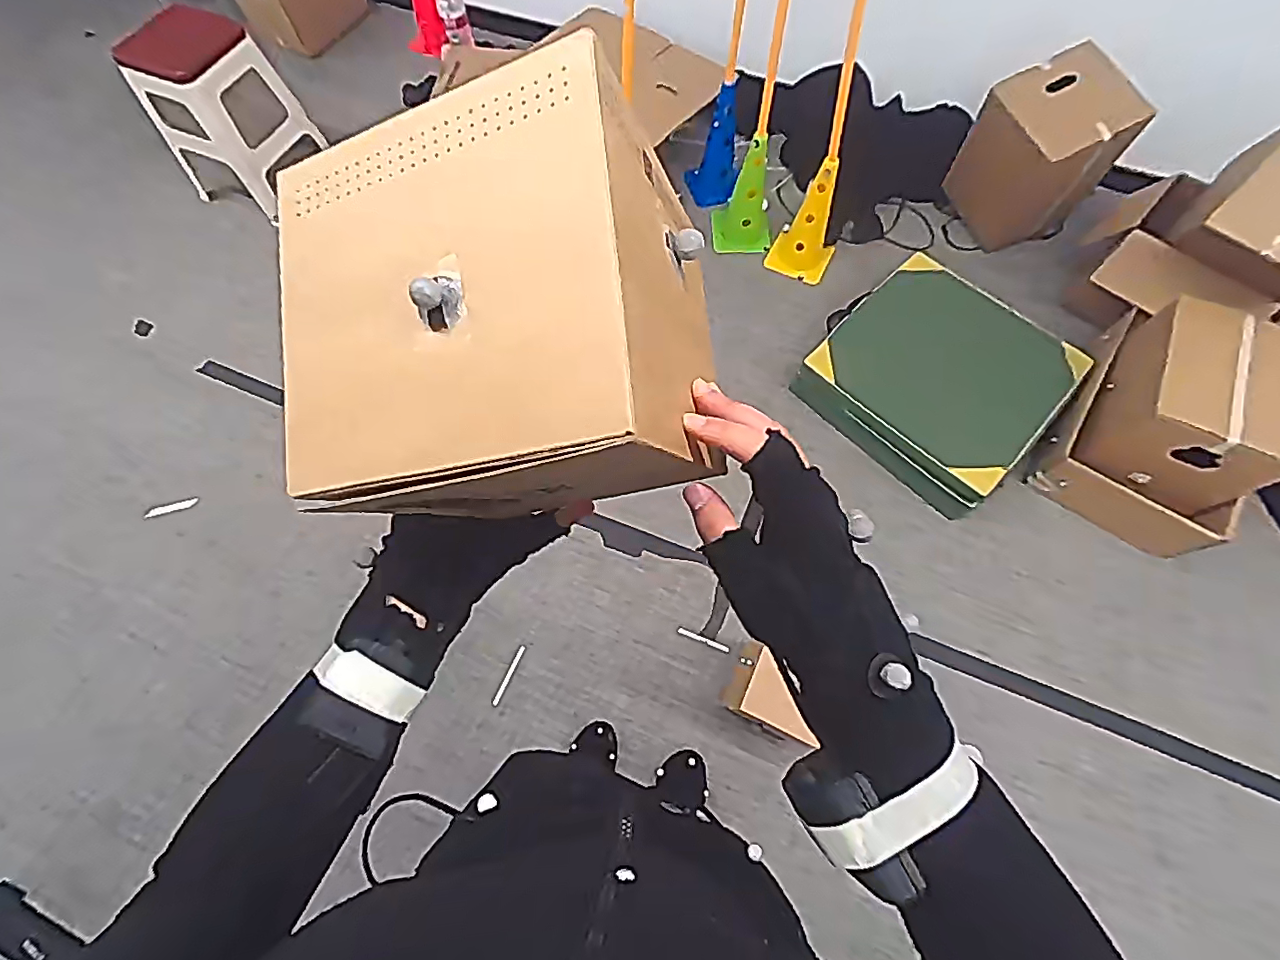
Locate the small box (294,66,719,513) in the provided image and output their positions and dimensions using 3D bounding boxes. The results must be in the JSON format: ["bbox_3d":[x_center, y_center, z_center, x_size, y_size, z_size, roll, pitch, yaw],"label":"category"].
[{"bbox_3d":[-0.063,-0.076,0.311,0.179,0.168,0.176,-9,83,19],"label":"small box"}]

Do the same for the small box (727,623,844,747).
[{"bbox_3d":[0.291,0.420,1.115,0.168,0.176,0.179,25,70,11],"label":"small box"}]

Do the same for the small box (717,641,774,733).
[{"bbox_3d":[0.300,0.483,1.266,0.179,0.176,0.168,26,69,9],"label":"small box"}]
